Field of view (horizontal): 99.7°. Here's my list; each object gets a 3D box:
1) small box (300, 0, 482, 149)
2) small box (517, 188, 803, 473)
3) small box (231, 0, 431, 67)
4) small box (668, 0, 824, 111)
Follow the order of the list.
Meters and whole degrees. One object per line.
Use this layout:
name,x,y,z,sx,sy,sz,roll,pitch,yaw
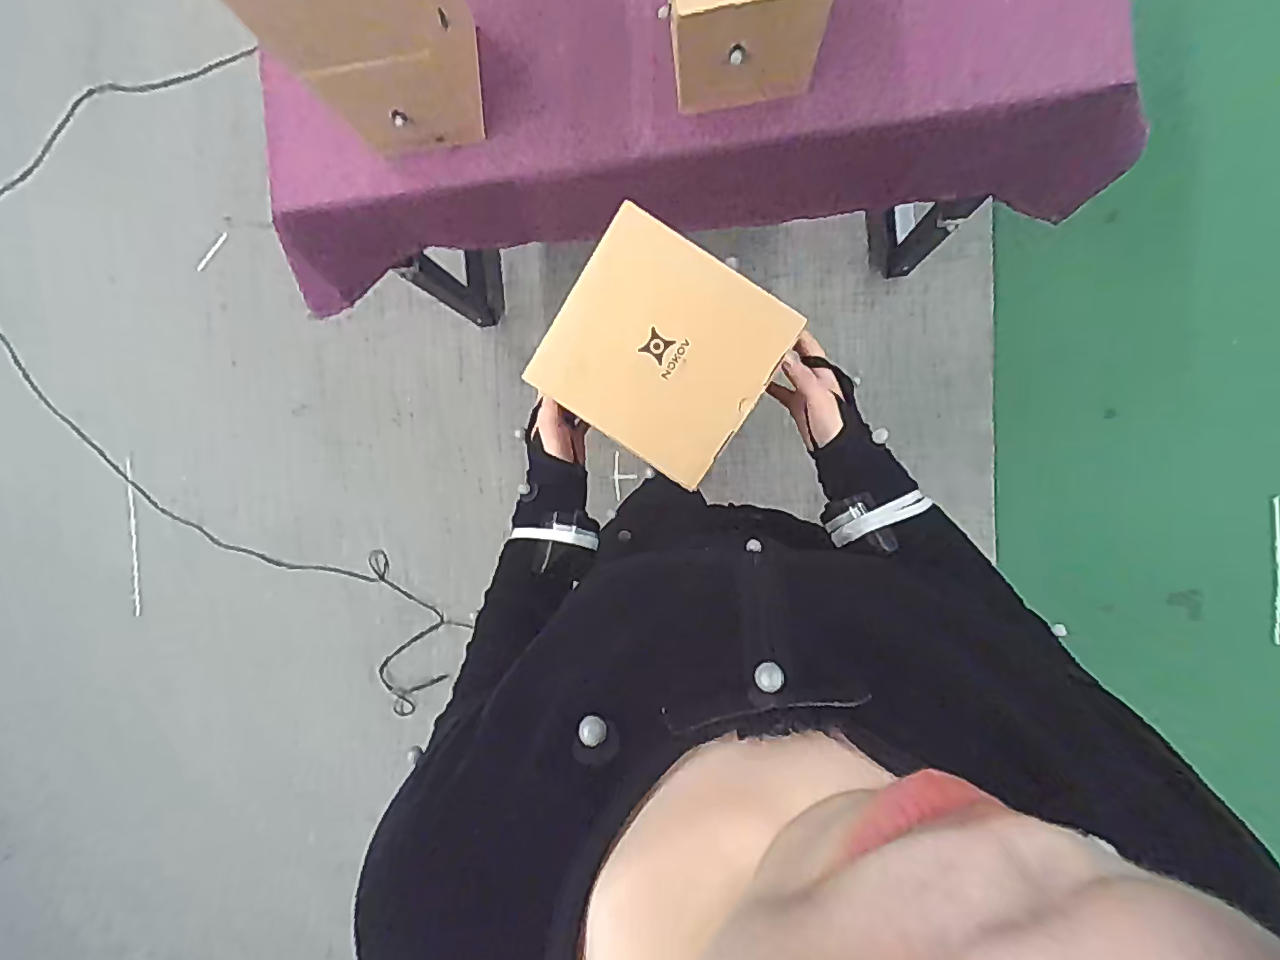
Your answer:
small box,-0.320,-0.568,0.713,0.168,0.176,0.179,-5,90,6
small box,0.018,-0.126,0.512,0.179,0.176,0.168,34,99,-1
small box,-0.339,-0.565,0.549,0.179,0.176,0.168,-5,90,6
small box,0.124,-0.594,0.664,0.179,0.176,0.168,-6,90,7
